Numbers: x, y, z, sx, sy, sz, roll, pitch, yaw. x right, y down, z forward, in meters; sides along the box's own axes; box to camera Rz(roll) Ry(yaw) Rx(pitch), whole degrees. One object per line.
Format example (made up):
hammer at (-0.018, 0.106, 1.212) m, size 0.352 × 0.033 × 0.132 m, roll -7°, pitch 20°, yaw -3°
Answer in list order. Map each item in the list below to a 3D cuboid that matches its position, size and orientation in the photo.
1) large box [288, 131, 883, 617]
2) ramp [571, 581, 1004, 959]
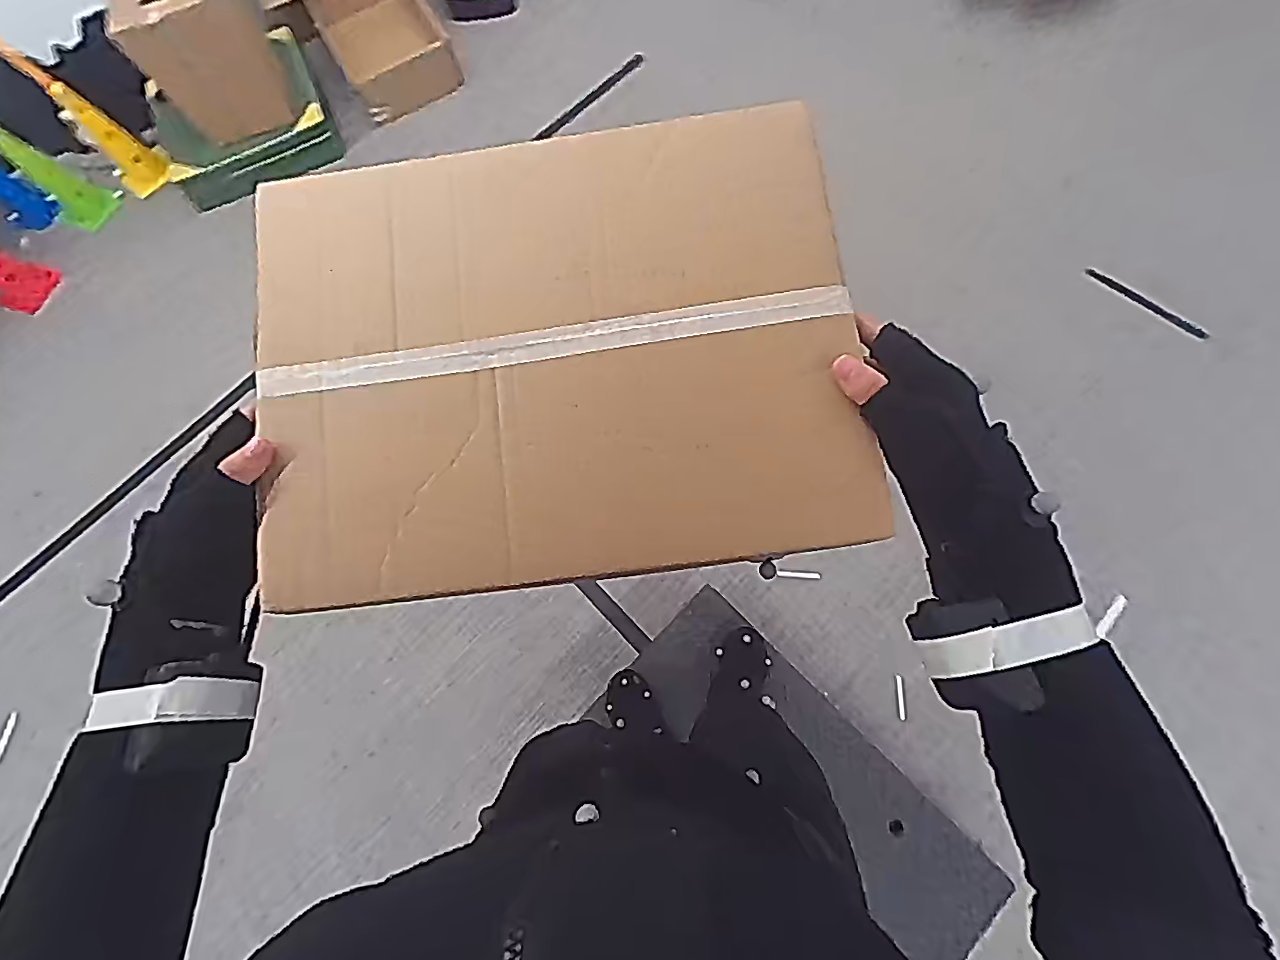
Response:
large box at (-0.044, -0.060, 0.527) m, size 0.408 × 0.320 × 0.320 m, roll -7°, pitch 80°, yaw 3°
ramp at (0.353, 0.762, 1.293) m, size 0.991 × 0.206 × 0.509 m, roll 41°, pitch 79°, yaw 15°
